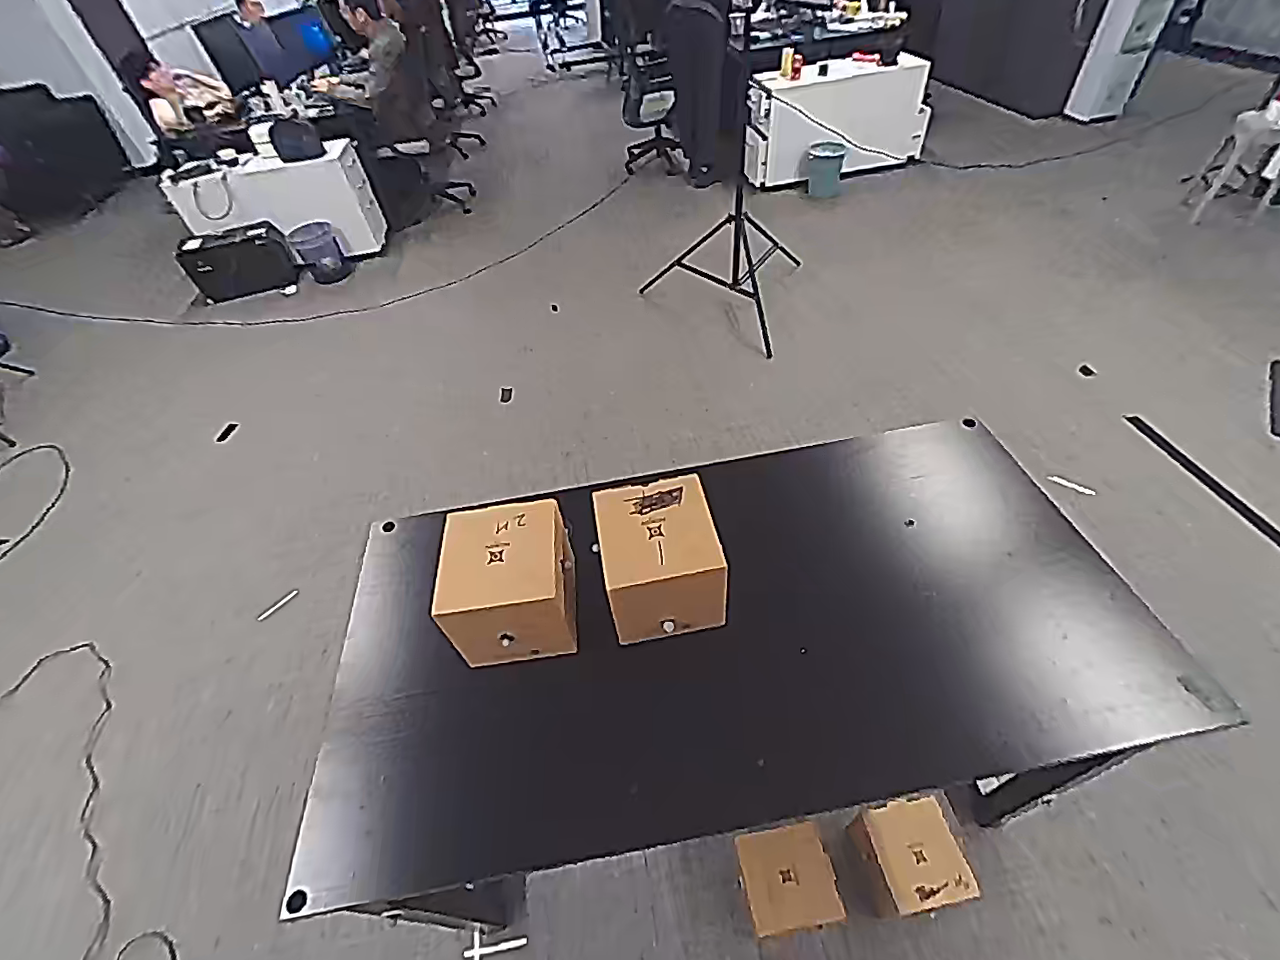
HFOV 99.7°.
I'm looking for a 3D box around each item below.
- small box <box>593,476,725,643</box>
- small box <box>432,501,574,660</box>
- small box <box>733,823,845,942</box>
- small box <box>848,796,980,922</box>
[{"bbox_3d":[0.027,0.123,0.829,0.168,0.176,0.179,-11,48,-2],"label":"small box"},{"bbox_3d":[-0.195,0.159,0.824,0.168,0.176,0.179,-8,47,-1],"label":"small box"},{"bbox_3d":[0.299,0.841,1.129,0.179,0.176,0.168,-11,46,-2],"label":"small box"},{"bbox_3d":[0.558,0.795,1.133,0.168,0.176,0.179,-12,47,-2],"label":"small box"}]
